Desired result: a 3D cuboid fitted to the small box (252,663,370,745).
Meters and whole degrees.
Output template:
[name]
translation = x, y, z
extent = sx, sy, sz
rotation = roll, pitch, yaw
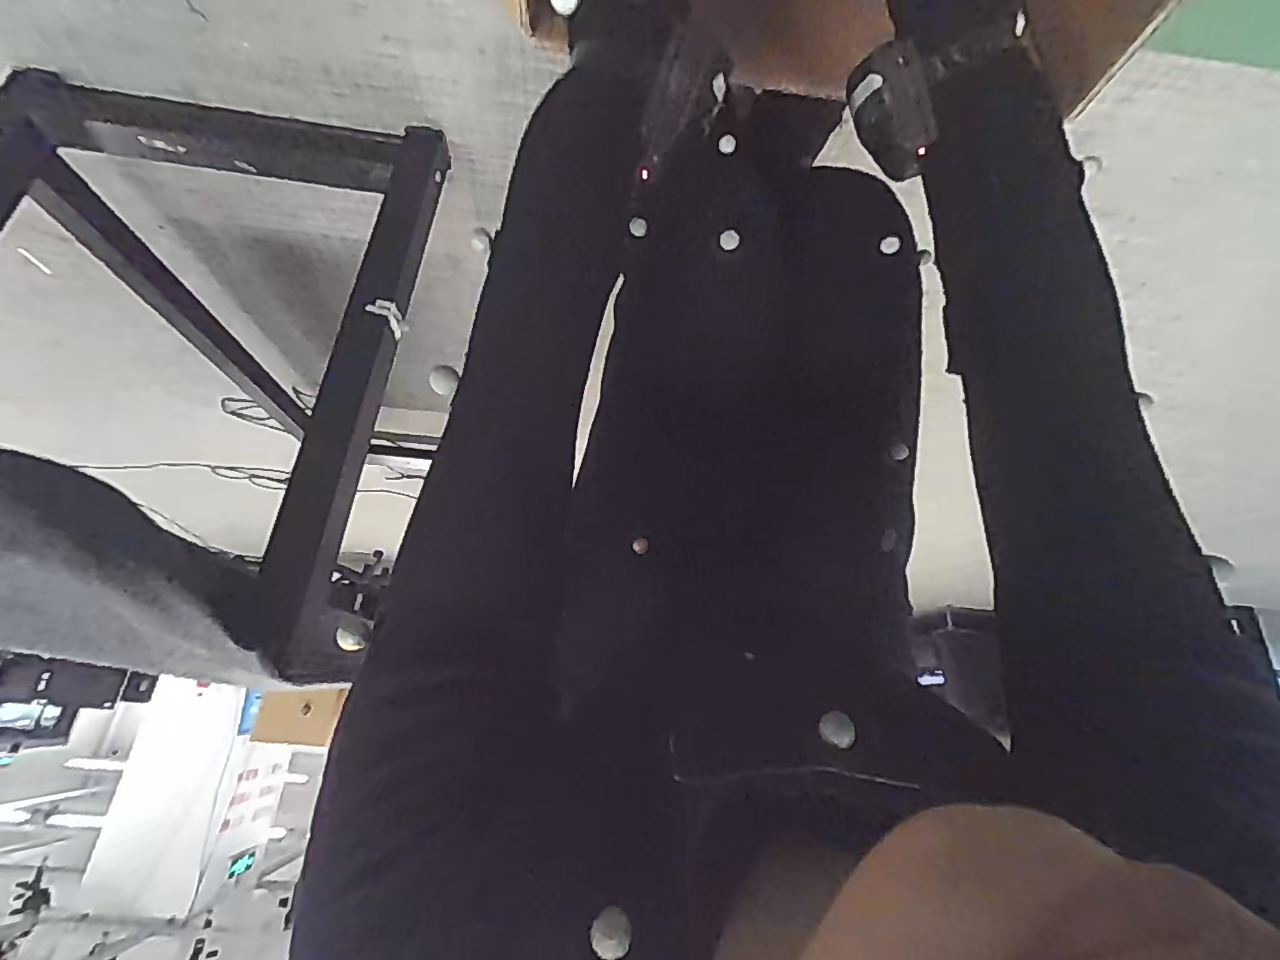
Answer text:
[small box]
translation = -0.777, 0.533, 1.298
extent = 0.168, 0.176, 0.179
rotation = 5, 159, -2
